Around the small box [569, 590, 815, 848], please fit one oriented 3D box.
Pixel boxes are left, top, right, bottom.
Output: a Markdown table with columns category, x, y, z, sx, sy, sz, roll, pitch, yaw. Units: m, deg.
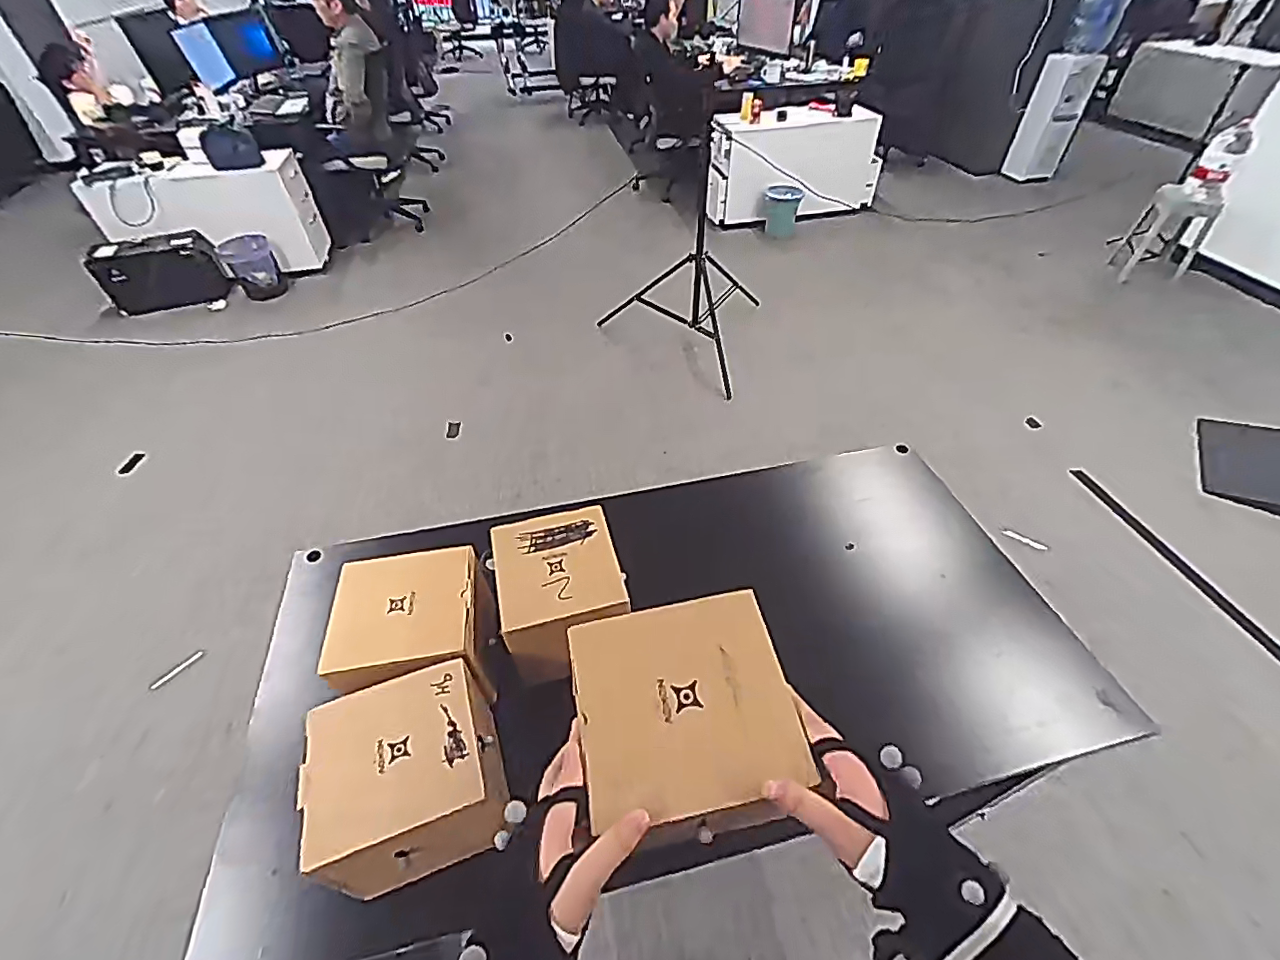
| category | x | y | z | sx | sy | sz | roll | pitch | yaw |
| --- | --- | --- | --- | --- | --- | --- | --- | --- | --- |
| small box | 0.040 | 0.231 | 0.515 | 0.179 | 0.176 | 0.168 | -11 | 52 | -6 |
